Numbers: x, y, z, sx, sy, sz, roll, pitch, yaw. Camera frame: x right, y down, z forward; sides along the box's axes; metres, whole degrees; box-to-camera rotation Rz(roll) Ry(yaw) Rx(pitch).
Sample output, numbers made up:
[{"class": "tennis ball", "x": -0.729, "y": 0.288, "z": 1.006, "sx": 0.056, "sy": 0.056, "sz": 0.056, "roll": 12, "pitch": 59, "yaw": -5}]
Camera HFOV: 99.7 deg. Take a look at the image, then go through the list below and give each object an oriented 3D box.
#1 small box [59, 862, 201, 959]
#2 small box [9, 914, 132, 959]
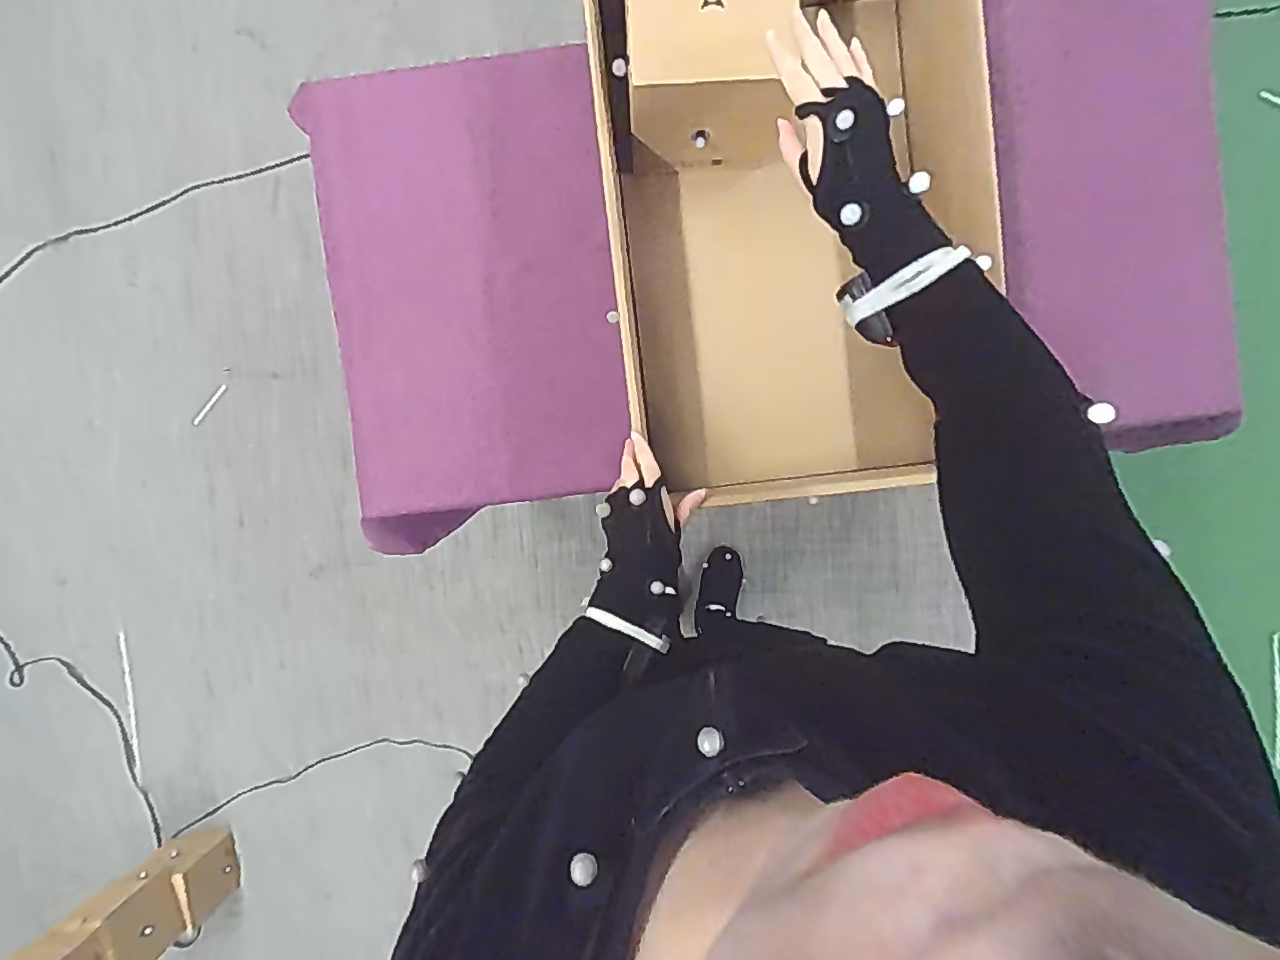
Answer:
[{"class": "small box", "x": -1.247, "y": 1.087, "z": 1.334, "sx": 0.168, "sy": 0.176, "sz": 0.179, "roll": -17, "pitch": 92, "yaw": 3}, {"class": "small box", "x": -1.269, "y": 1.097, "z": 1.172, "sx": 0.179, "sy": 0.176, "sz": 0.168, "roll": -14, "pitch": 91, "yaw": 2}]
